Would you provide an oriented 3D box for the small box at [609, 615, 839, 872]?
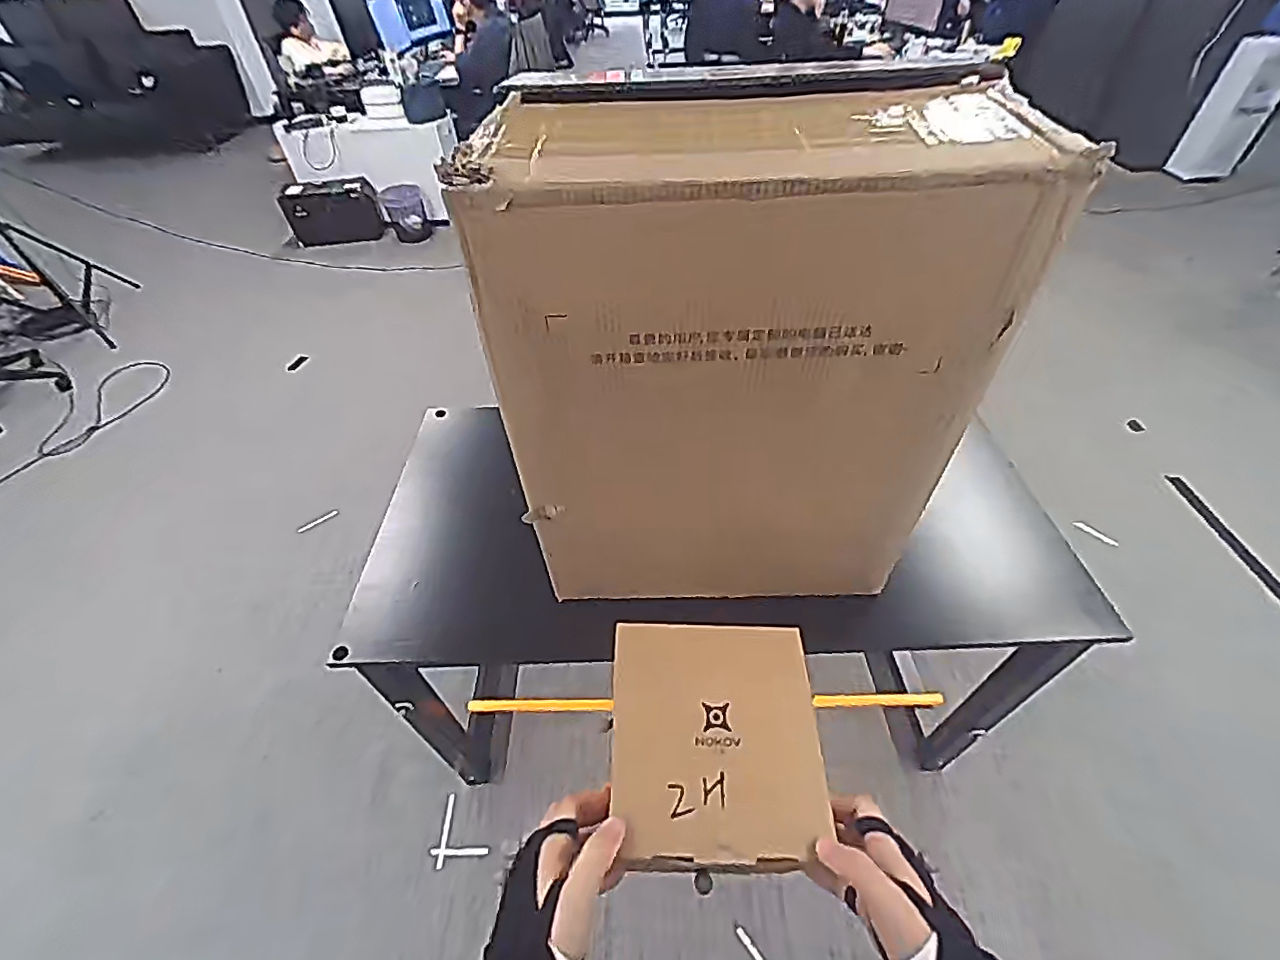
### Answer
[{"bbox_3d":[0.058,0.242,0.492,0.168,0.176,0.179,1,51,-1],"label":"small box"}]
